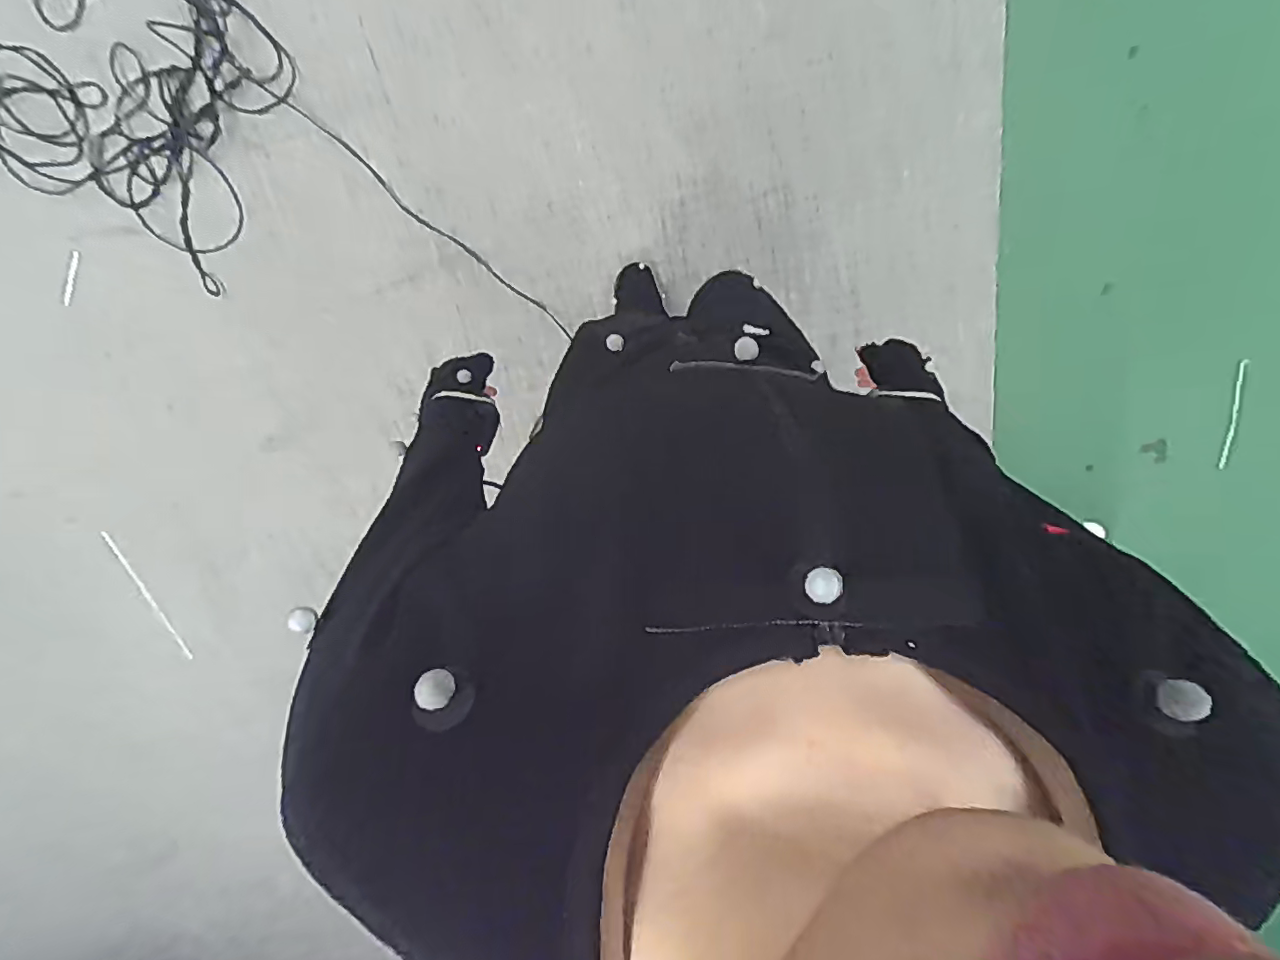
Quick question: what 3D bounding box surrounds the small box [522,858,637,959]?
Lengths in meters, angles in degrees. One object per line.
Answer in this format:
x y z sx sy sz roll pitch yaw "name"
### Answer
-0.101 0.834 0.983 0.168 0.176 0.179 -12 111 3 "small box"
